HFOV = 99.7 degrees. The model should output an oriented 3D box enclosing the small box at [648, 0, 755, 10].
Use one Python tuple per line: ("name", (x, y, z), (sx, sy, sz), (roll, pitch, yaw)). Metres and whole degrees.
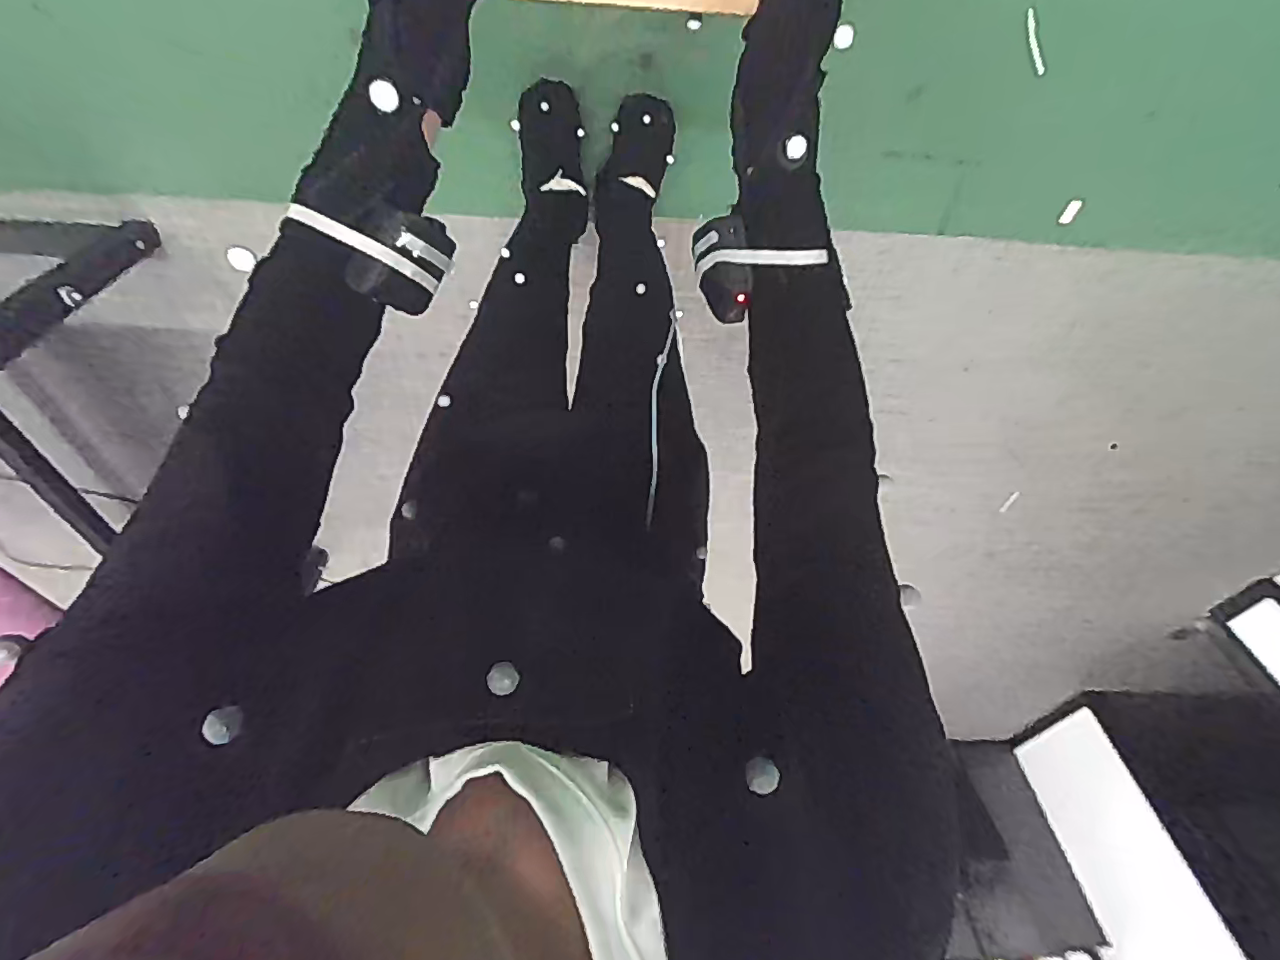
("small box", (-0.003, -0.438, 0.356), (0.179, 0.176, 0.168), (1, 140, -3))
